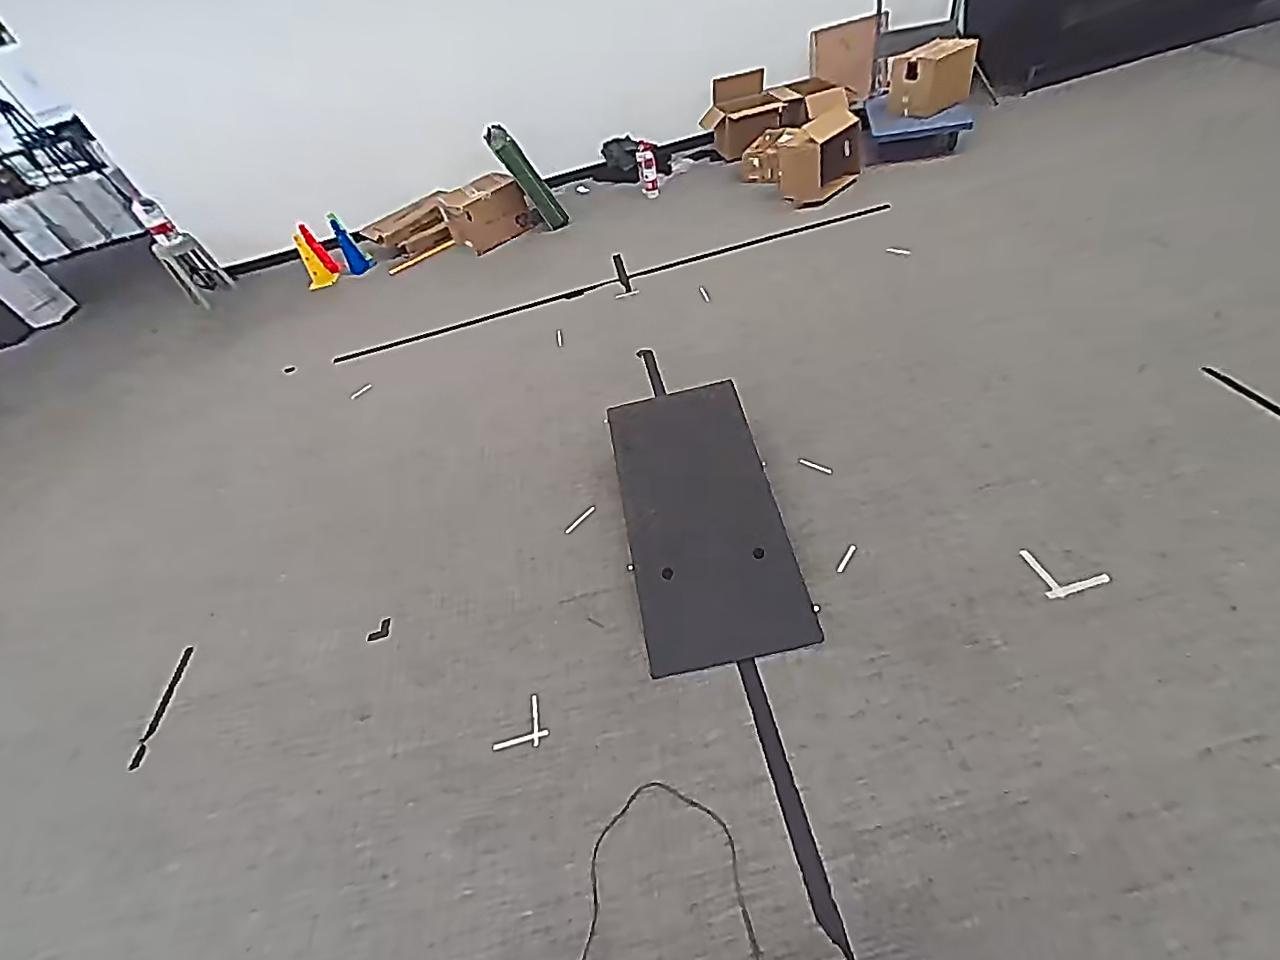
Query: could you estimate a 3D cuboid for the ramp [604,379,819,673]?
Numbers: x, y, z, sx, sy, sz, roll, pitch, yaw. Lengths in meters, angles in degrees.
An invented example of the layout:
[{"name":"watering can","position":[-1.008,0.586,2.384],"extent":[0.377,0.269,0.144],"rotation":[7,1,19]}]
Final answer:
[{"name":"ramp","position":[0.185,0.084,1.777],"extent":[0.509,0.206,0.991],"rotation":[-14,47,1]}]
